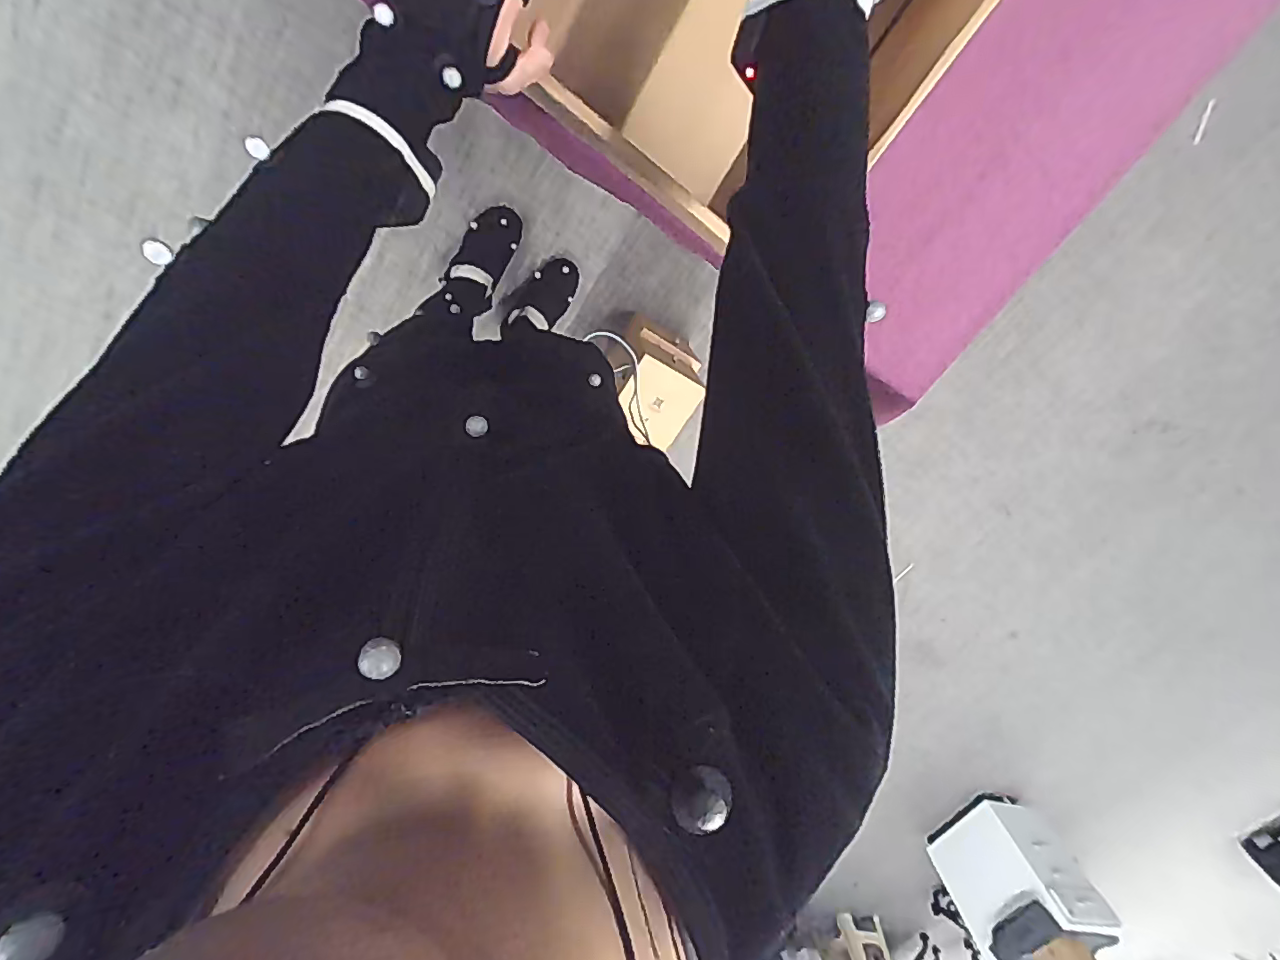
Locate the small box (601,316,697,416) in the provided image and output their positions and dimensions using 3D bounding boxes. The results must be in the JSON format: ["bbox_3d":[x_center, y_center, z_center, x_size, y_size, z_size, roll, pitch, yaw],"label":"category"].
[{"bbox_3d":[0.016,-0.299,1.388,0.179,0.176,0.168,27,112,-21],"label":"small box"}]
